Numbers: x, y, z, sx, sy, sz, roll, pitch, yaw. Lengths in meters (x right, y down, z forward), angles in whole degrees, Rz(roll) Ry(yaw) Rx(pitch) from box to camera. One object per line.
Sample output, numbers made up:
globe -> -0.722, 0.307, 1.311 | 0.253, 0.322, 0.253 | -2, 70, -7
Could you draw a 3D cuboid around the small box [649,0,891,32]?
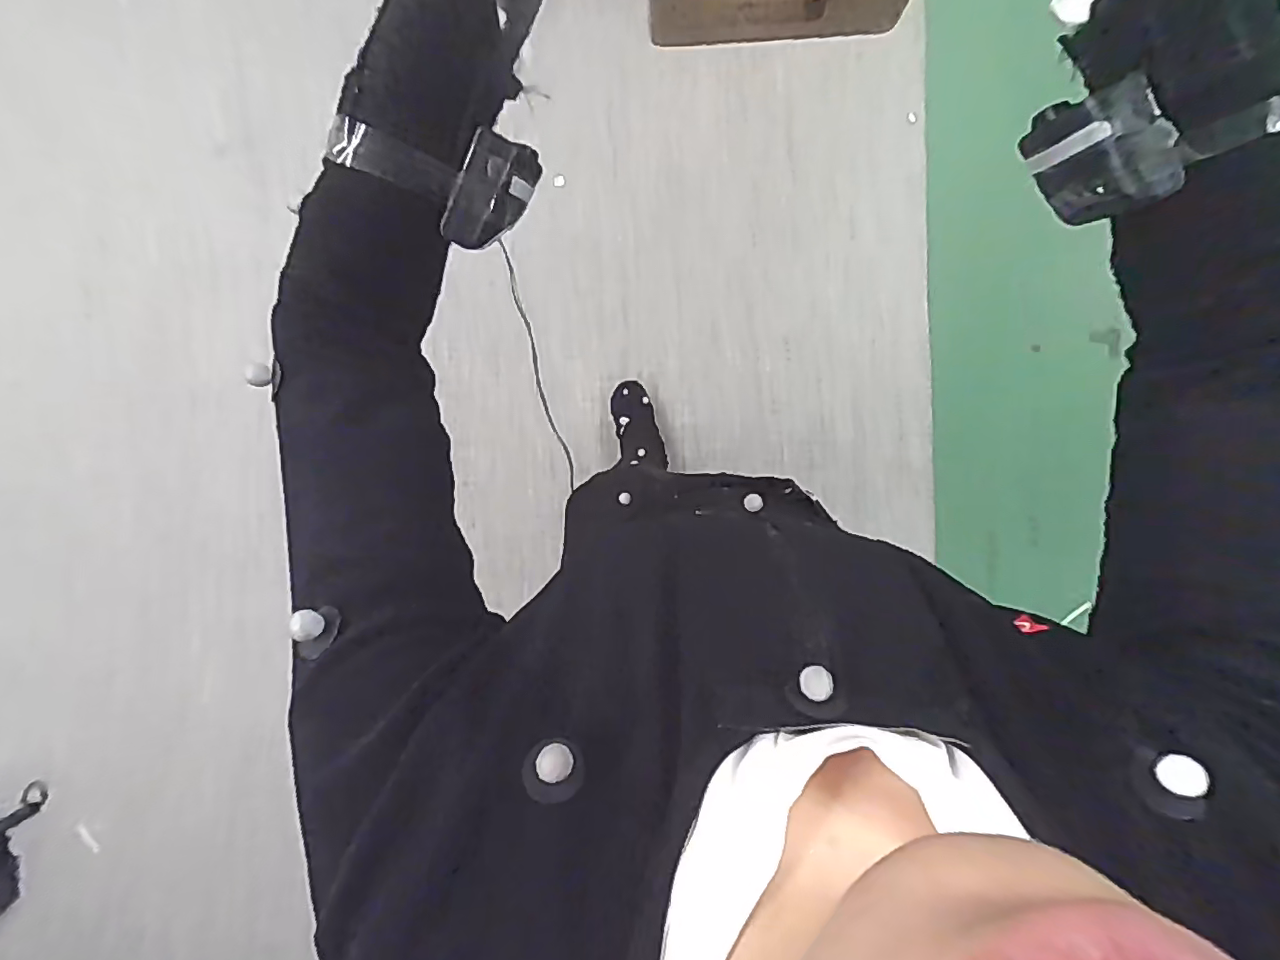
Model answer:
small box -> 0.082, -0.402, 0.299 | 0.168, 0.176, 0.179 | -2, 81, 2
